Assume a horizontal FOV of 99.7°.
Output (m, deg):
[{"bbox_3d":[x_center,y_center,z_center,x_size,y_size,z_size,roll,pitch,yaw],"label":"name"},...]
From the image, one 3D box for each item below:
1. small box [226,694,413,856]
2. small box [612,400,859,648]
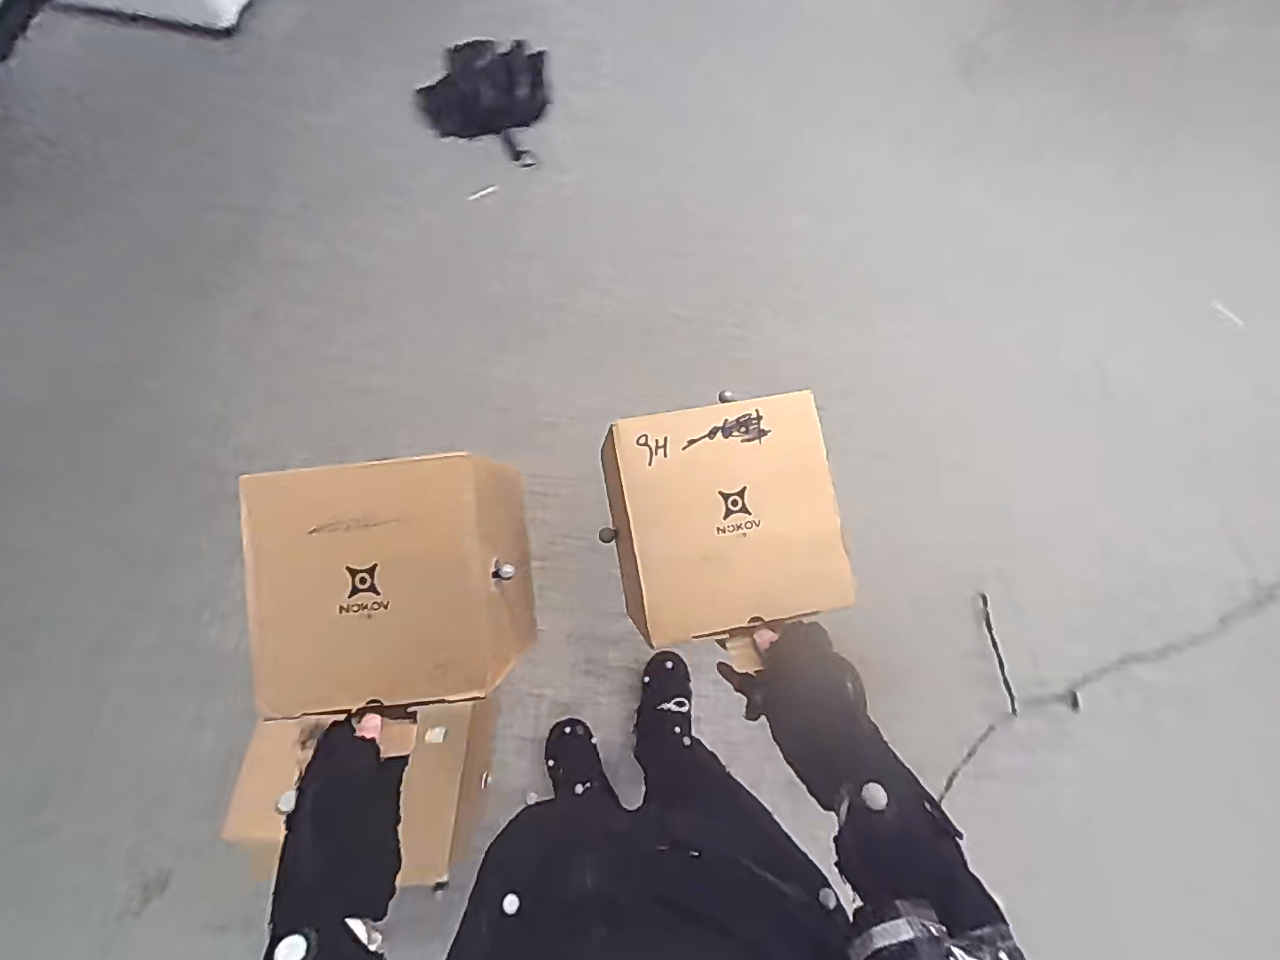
[{"bbox_3d":[-0.459,0.427,0.812,0.168,0.176,0.179,12,70,-5],"label":"small box"},{"bbox_3d":[0.072,0.037,0.501,0.168,0.176,0.179,-9,87,-9],"label":"small box"}]
